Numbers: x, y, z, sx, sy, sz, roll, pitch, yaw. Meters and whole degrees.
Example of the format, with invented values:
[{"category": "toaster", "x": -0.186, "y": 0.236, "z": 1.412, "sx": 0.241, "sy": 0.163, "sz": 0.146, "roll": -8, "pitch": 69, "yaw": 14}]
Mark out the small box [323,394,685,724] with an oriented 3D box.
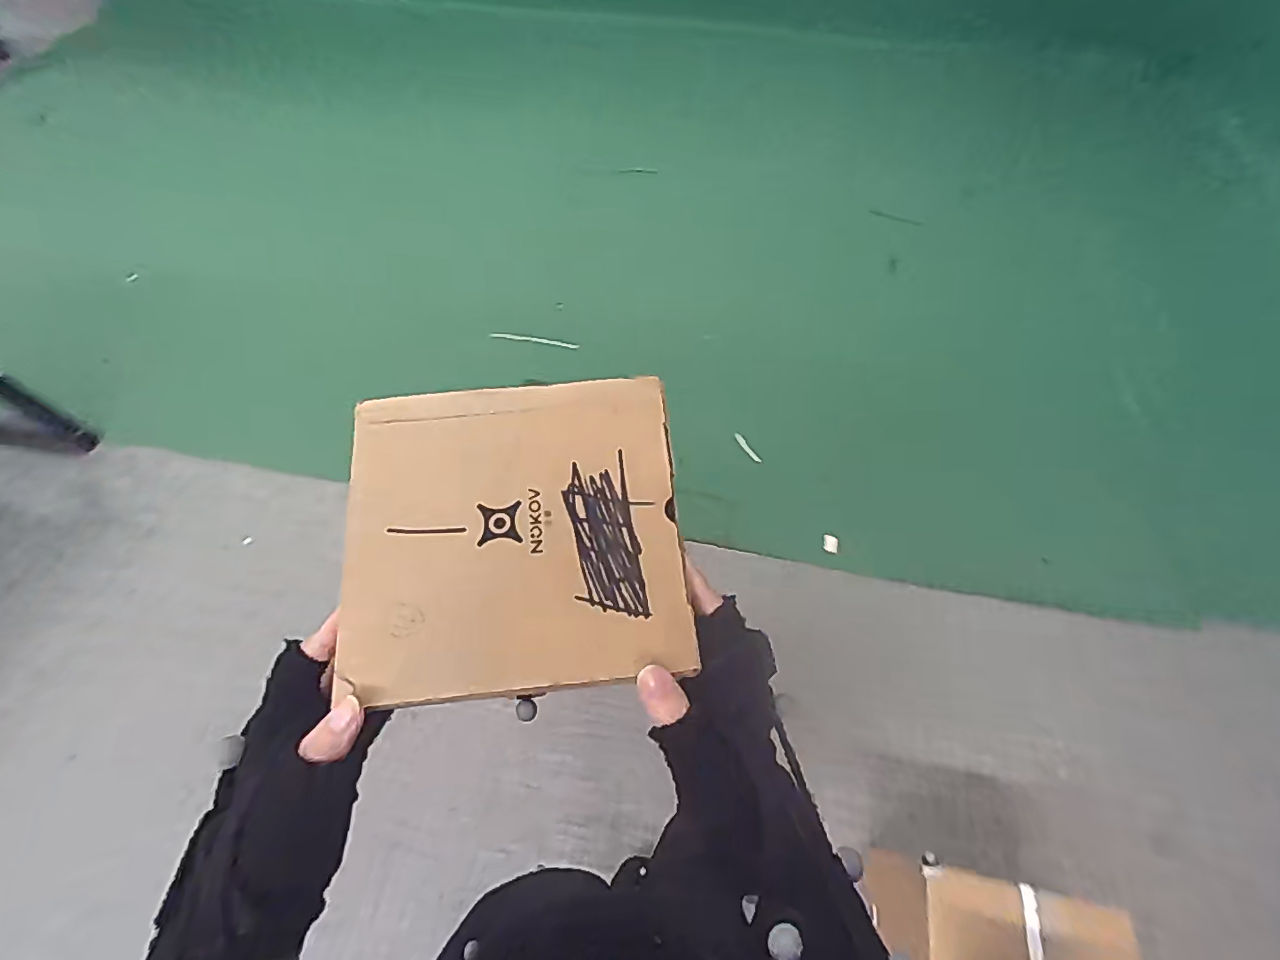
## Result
[{"category": "small box", "x": -0.075, "y": 0.059, "z": 0.362, "sx": 0.179, "sy": 0.176, "sz": 0.168, "roll": -6, "pitch": 70, "yaw": -4}]
